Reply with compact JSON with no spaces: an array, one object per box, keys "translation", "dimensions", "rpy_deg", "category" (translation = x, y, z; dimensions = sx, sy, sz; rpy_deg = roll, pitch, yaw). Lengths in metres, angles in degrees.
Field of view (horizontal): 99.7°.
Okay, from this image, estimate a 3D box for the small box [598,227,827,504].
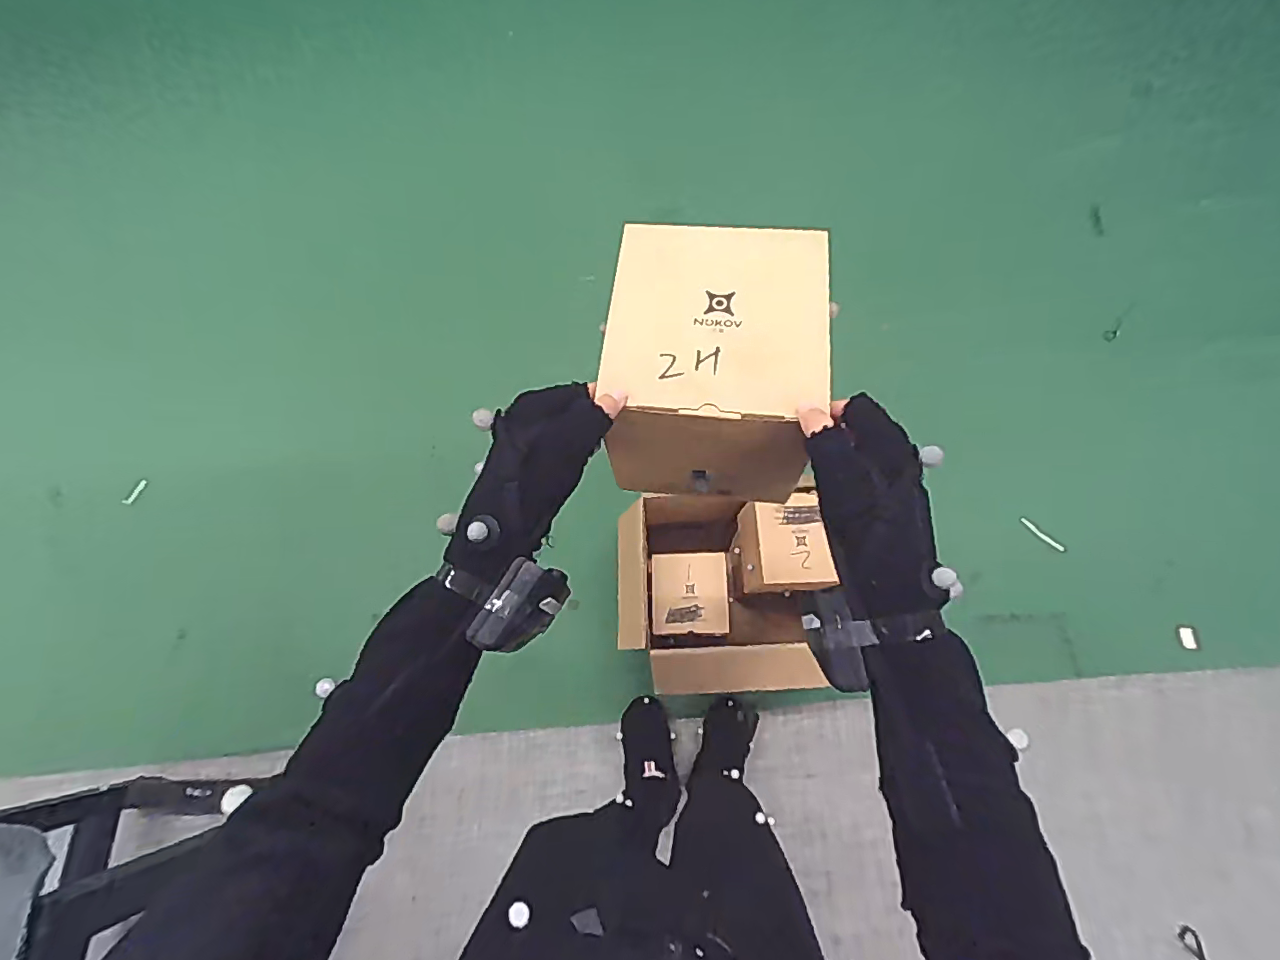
[{"translation":[0.064,-0.095,0.489],"dimensions":[0.168,0.176,0.179],"rpy_deg":[5,68,6],"category":"small box"}]
